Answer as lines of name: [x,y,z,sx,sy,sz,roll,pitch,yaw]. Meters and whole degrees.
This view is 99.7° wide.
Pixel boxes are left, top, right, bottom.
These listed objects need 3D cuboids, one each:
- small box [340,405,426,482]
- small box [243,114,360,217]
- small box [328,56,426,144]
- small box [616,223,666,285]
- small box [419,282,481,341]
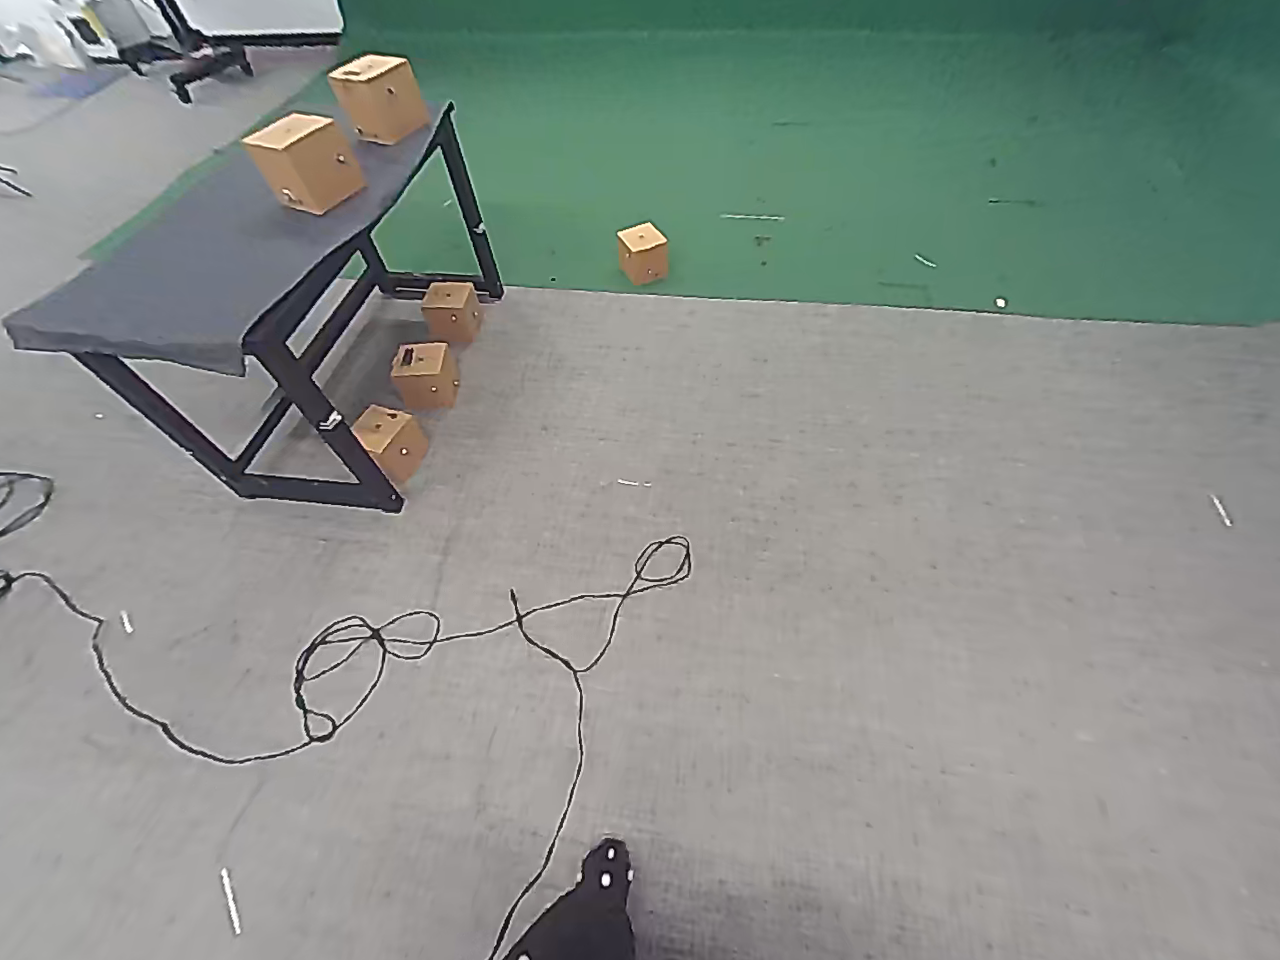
small box: [-0.853,-0.118,1.818,0.168,0.176,0.179,16,58,14]
small box: [-0.878,-0.830,1.429,0.168,0.176,0.179,21,60,21]
small box: [-0.790,-1.152,1.643,0.168,0.176,0.179,22,60,21]
small box: [0.005,-0.993,2.383,0.168,0.176,0.179,-24,58,-13]
small box: [-0.769,-0.686,2.209,0.179,0.176,0.168,1,55,4]
